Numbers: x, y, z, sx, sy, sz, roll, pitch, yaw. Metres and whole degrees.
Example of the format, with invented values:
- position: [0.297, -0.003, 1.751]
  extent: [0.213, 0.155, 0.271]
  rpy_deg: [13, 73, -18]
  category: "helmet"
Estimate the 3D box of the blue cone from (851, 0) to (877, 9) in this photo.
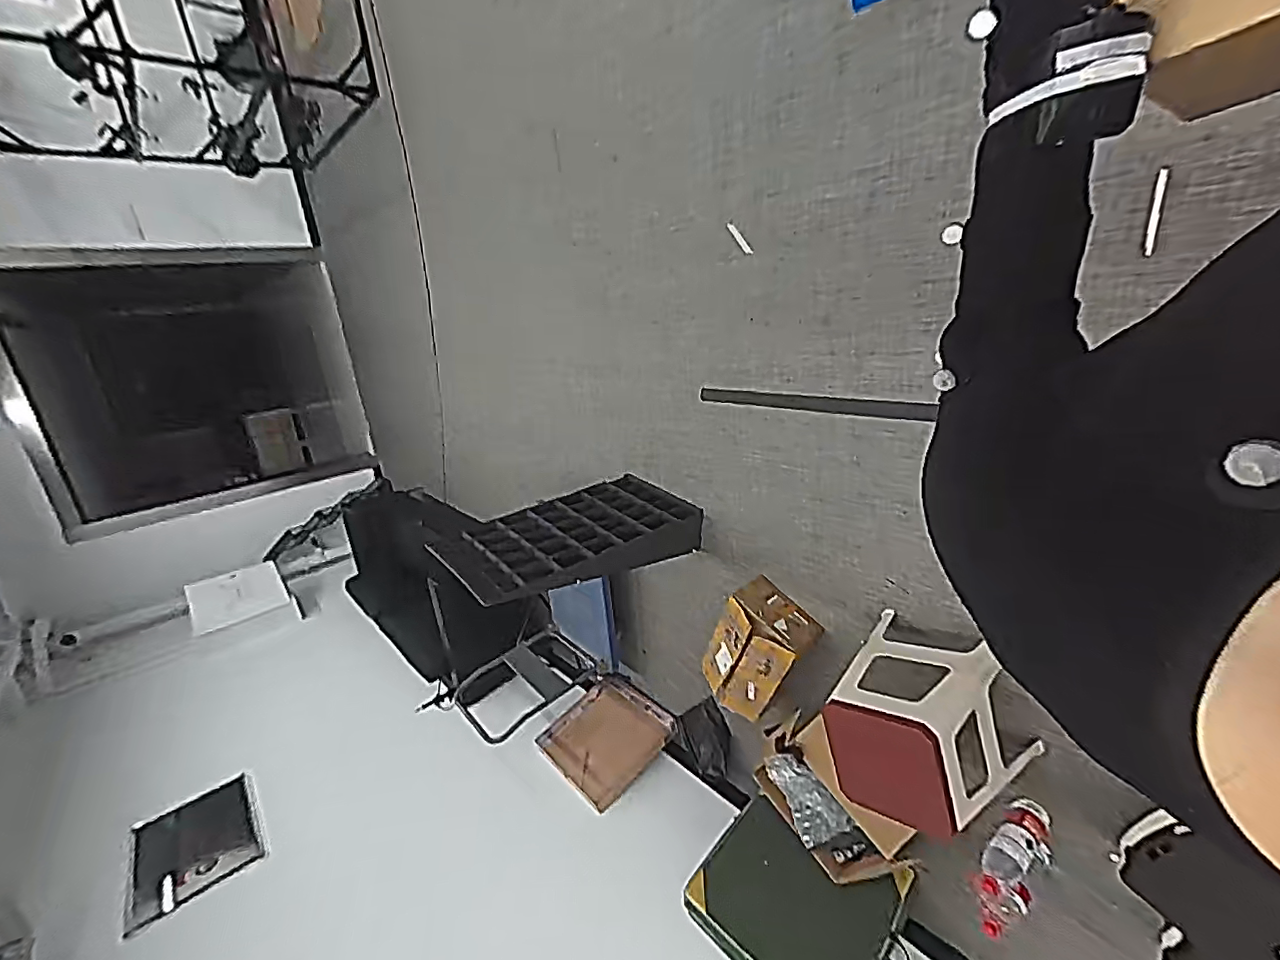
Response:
- position: [0.446, -1.178, 1.139]
  extent: [0.192, 0.380, 0.193]
  rpy_deg: [20, 121, 47]
  category: "blue cone"

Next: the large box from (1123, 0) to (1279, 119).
- position: [0.515, -0.447, 0.257]
  extent: [0.408, 0.320, 0.320]
  rpy_deg: [3, 110, 50]
  category: "large box"
